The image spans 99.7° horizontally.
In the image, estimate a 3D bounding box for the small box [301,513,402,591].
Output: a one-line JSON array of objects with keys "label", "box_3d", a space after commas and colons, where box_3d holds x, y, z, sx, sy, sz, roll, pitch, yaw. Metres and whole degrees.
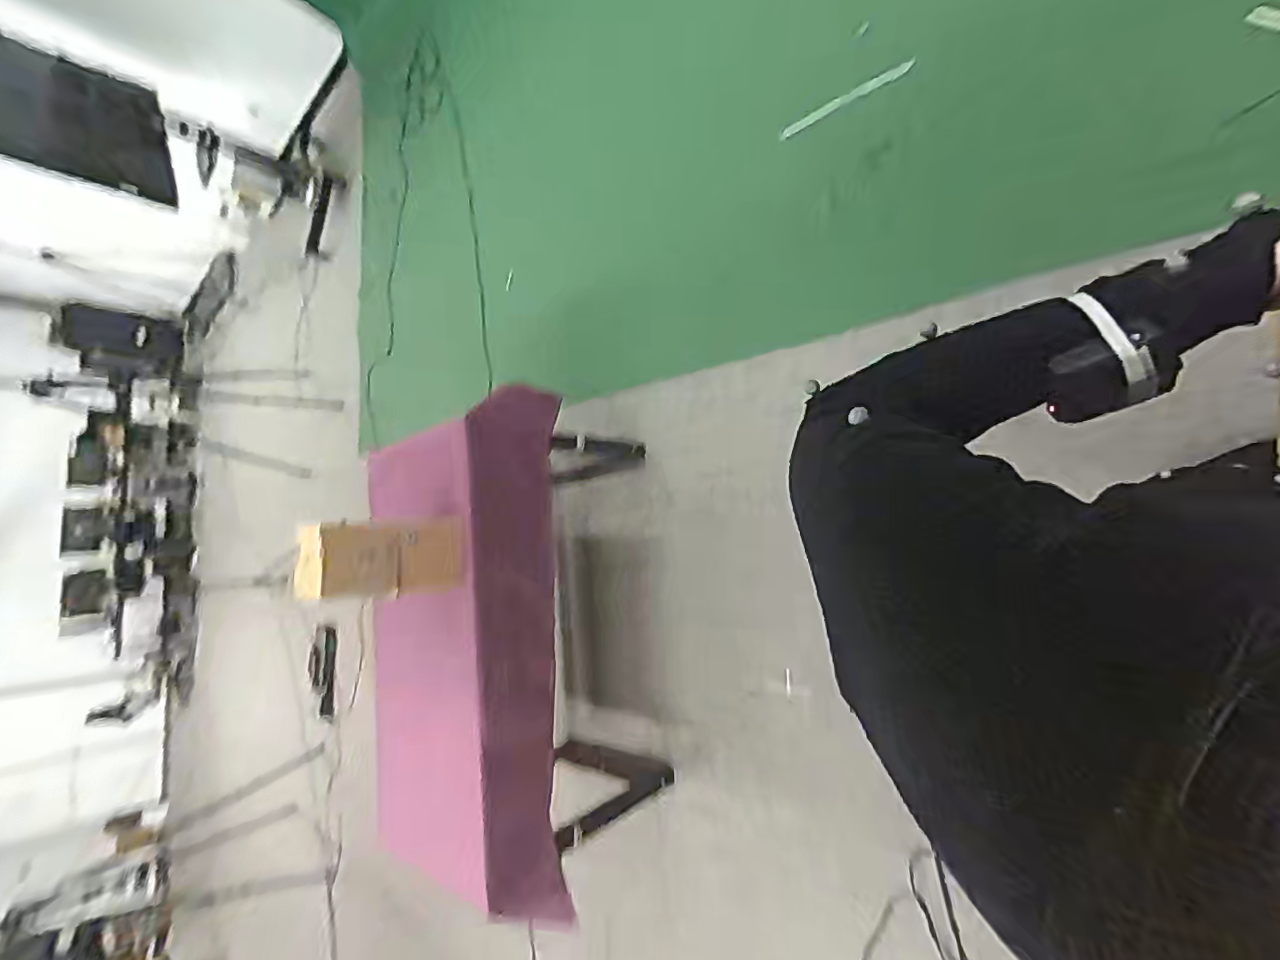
[{"label": "small box", "box_3d": [-0.676, 0.164, 1.272, 0.179, 0.176, 0.168, -7, 84, 41]}]

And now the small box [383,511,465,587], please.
[{"label": "small box", "box_3d": [-0.566, 0.171, 1.394, 0.168, 0.176, 0.179, -2, 87, 42]}]
